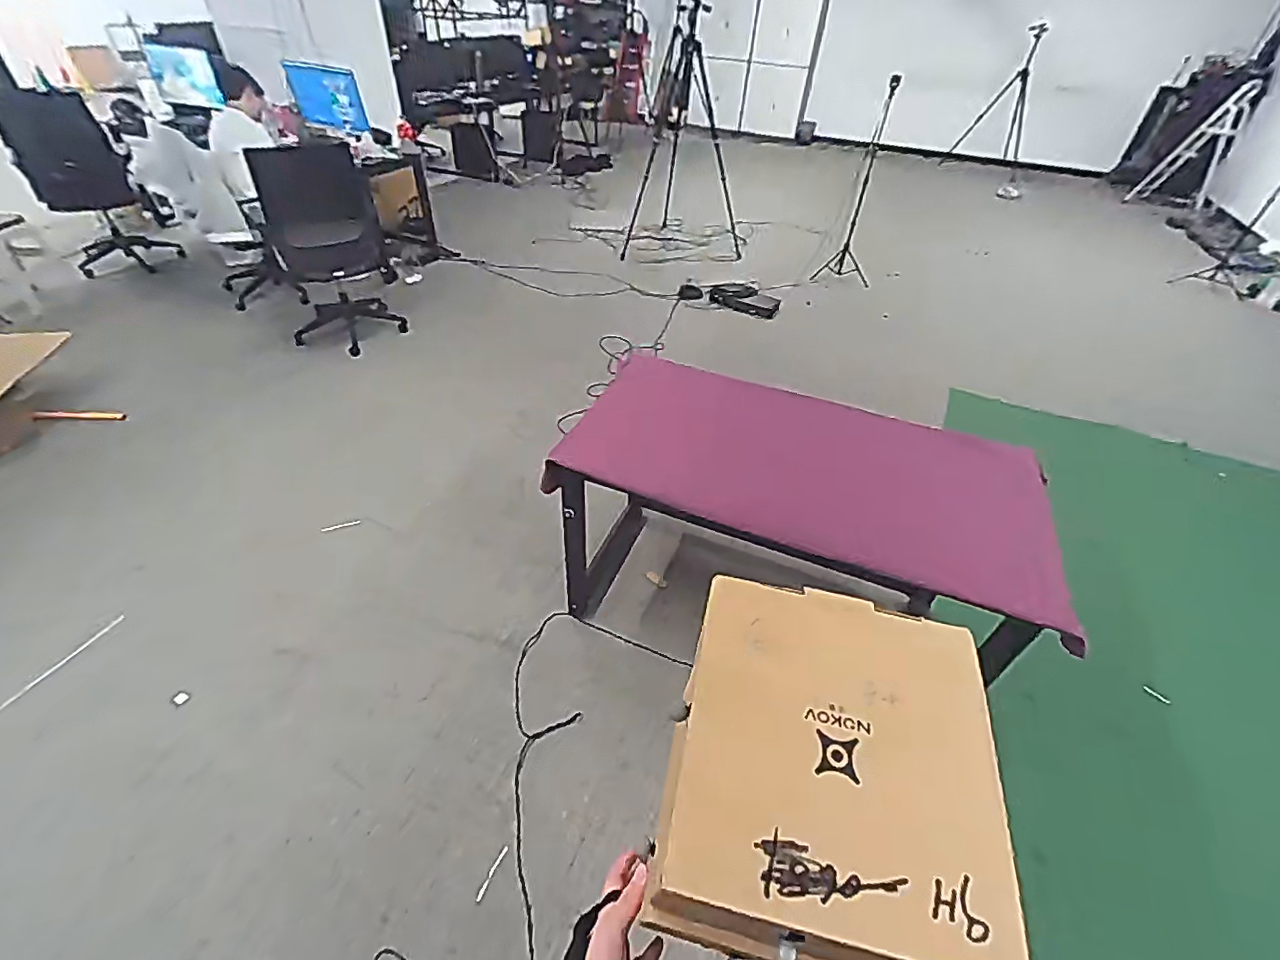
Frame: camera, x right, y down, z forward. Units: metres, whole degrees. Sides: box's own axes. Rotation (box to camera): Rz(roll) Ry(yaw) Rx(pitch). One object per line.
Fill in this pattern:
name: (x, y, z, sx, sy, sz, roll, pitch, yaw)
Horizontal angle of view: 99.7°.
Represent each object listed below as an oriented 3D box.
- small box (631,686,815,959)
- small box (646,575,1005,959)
small box: (0.093, 0.308, 0.480, 0.168, 0.176, 0.179, 12, 50, 8)
small box: (0.100, 0.194, 0.361, 0.168, 0.176, 0.179, 11, 50, 8)
